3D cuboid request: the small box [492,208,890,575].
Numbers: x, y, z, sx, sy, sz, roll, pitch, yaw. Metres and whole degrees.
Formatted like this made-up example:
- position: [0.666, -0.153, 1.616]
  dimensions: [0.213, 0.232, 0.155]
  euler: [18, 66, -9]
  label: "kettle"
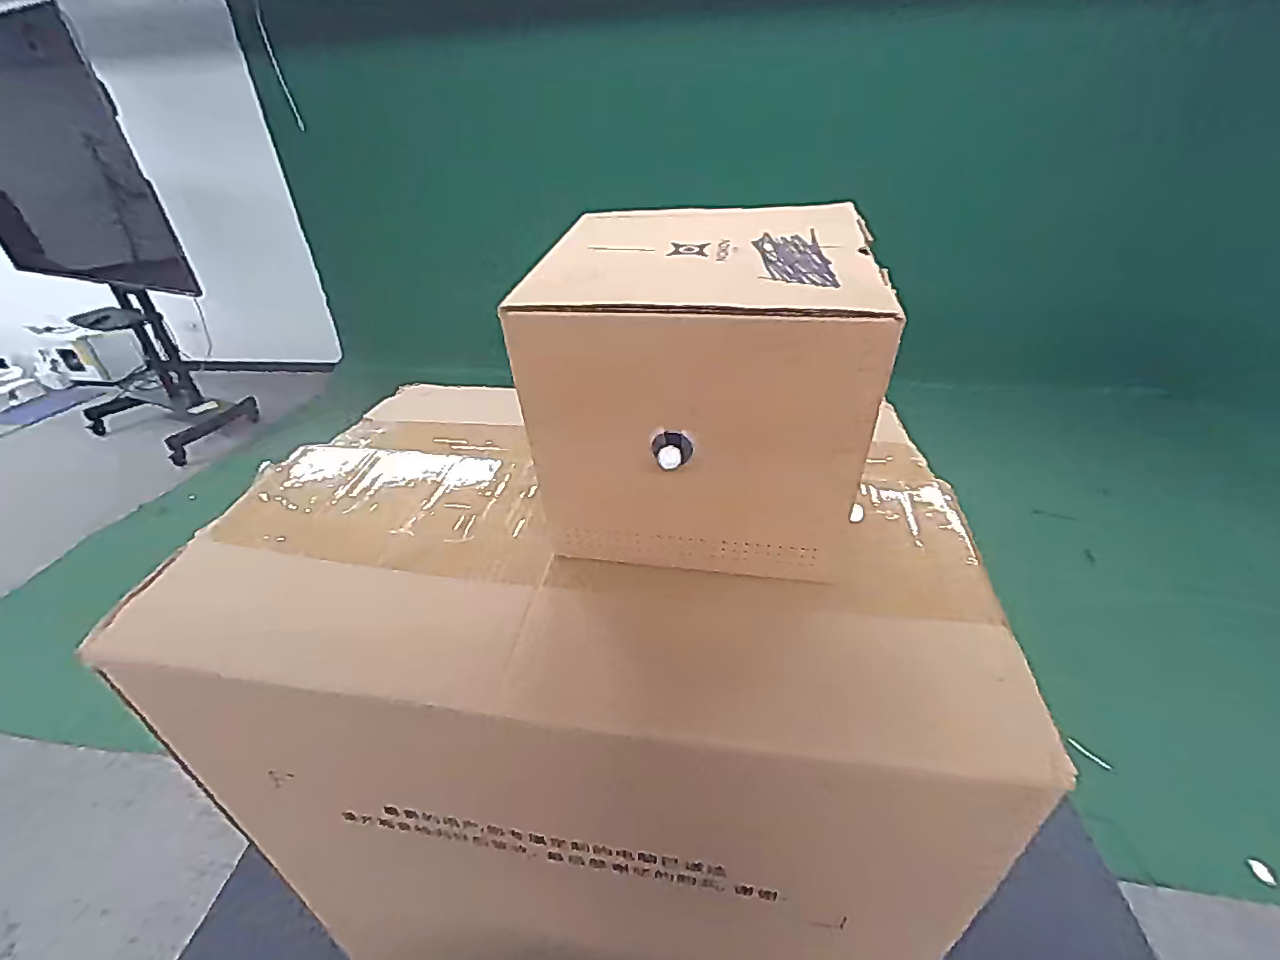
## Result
- position: [0.036, -0.058, 0.343]
  dimensions: [0.179, 0.176, 0.168]
  euler: [4, 40, 10]
  label: "small box"
